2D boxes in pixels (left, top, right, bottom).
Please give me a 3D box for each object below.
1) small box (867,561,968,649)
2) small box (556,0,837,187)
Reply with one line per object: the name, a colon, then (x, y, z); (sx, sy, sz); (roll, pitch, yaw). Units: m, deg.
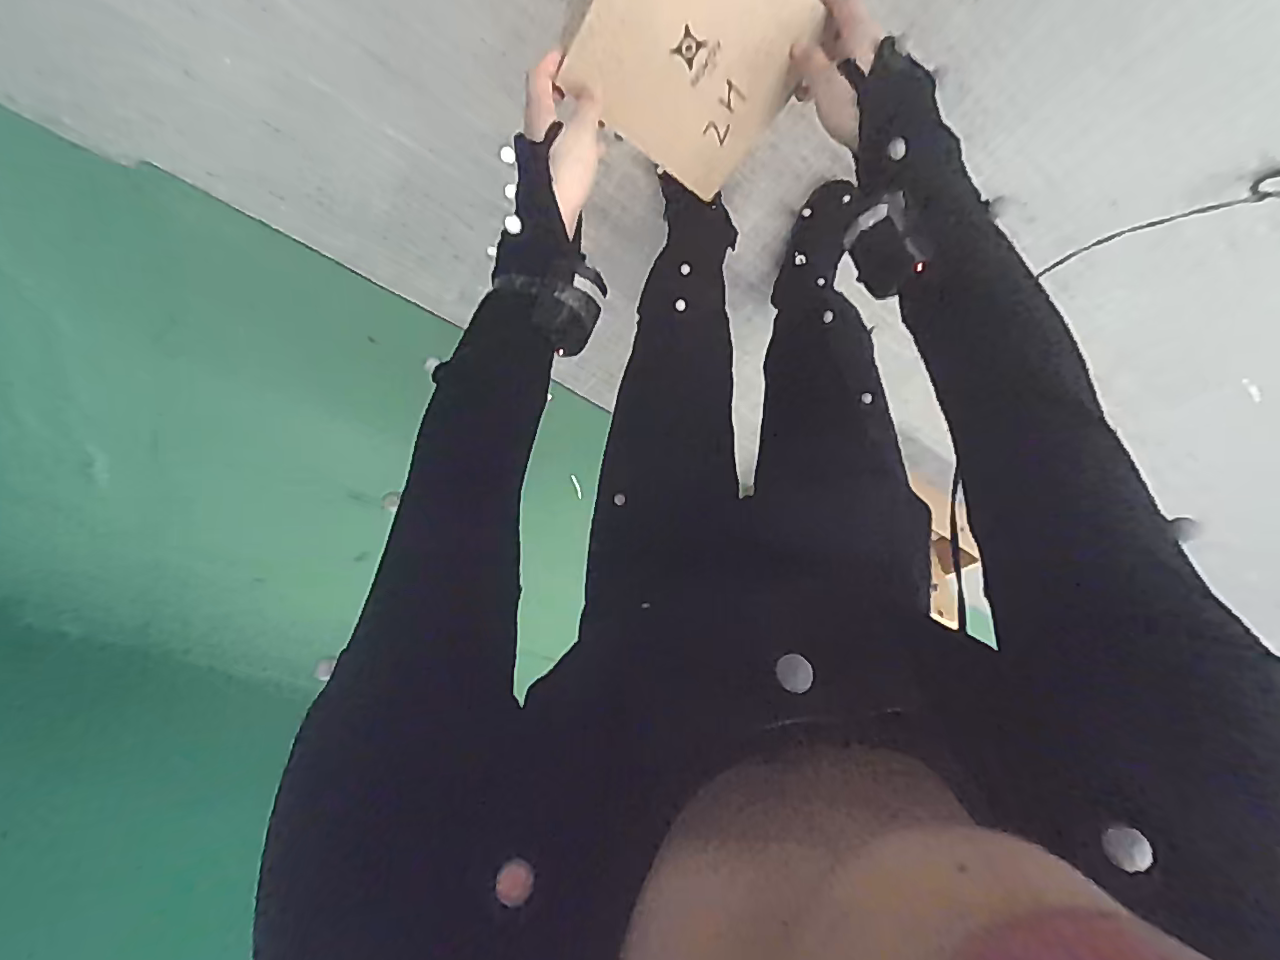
small box: (0.778, 0.354, 1.537); (0.168, 0.176, 0.179); (24, 135, -22)
small box: (0.041, -0.422, 0.496); (0.179, 0.176, 0.168); (22, 135, -29)
